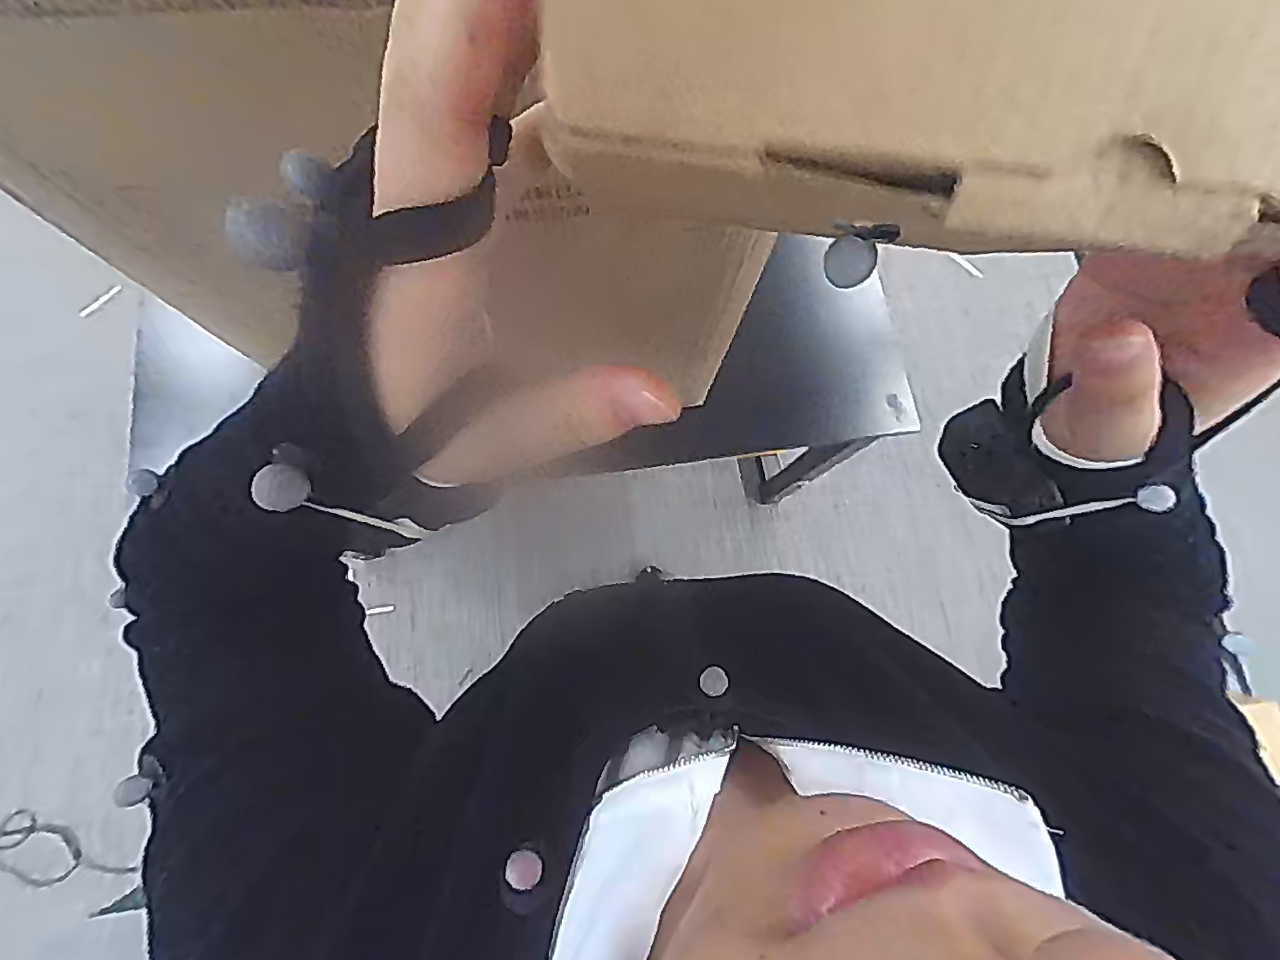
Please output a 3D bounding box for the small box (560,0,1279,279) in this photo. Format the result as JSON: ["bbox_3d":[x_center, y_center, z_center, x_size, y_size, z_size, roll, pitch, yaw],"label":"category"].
[{"bbox_3d":[0.078,-0.149,0.118,0.168,0.176,0.179,5,115,-3],"label":"small box"}]
